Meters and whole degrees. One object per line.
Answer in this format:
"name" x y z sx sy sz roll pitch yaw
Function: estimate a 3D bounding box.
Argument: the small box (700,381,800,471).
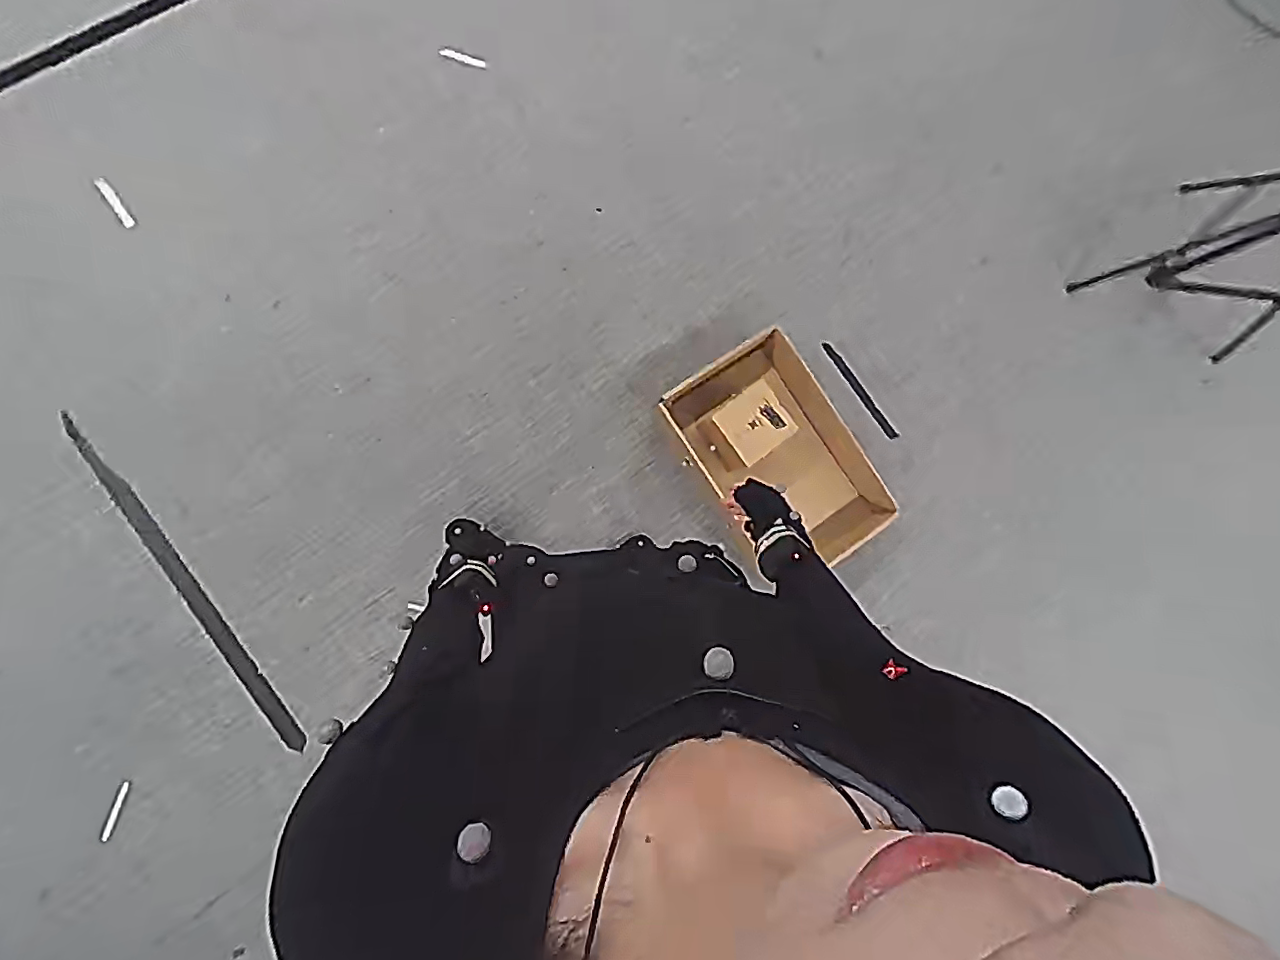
"small box" 0.289 -0.139 1.461 0.179 0.176 0.168 -36 92 -9
